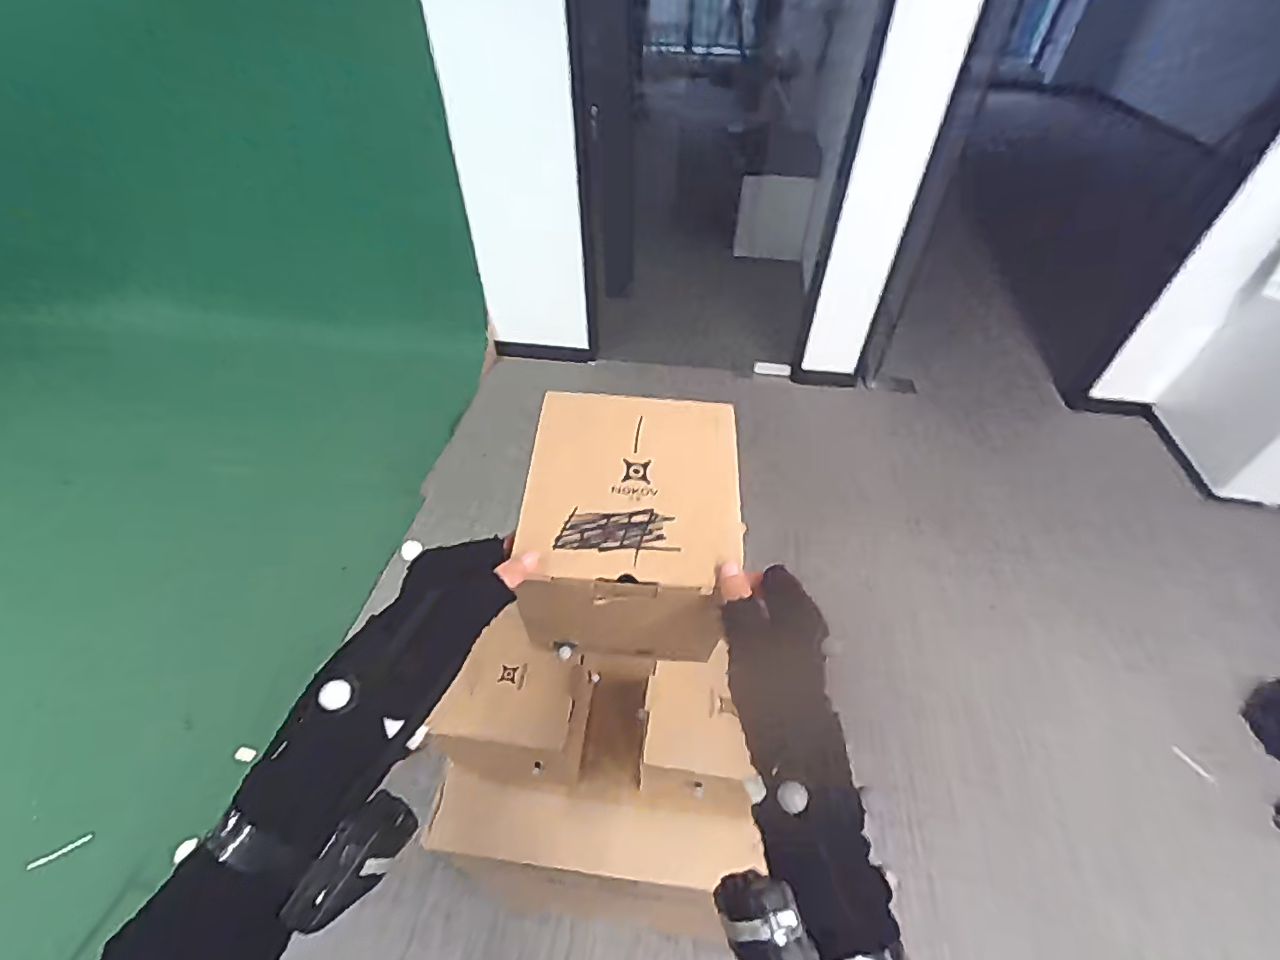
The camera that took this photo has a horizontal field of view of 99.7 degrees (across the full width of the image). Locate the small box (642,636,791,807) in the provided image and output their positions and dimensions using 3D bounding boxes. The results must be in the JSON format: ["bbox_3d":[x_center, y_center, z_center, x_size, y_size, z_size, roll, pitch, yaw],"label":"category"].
[{"bbox_3d":[0.101,0.327,0.735,0.179,0.176,0.168,7,50,6],"label":"small box"}]

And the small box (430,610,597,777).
[{"bbox_3d":[-0.159,0.302,0.757,0.179,0.176,0.168,4,48,5],"label":"small box"}]

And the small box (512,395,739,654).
[{"bbox_3d":[-0.009,0.048,0.493,0.168,0.176,0.179,4,55,-2],"label":"small box"}]
